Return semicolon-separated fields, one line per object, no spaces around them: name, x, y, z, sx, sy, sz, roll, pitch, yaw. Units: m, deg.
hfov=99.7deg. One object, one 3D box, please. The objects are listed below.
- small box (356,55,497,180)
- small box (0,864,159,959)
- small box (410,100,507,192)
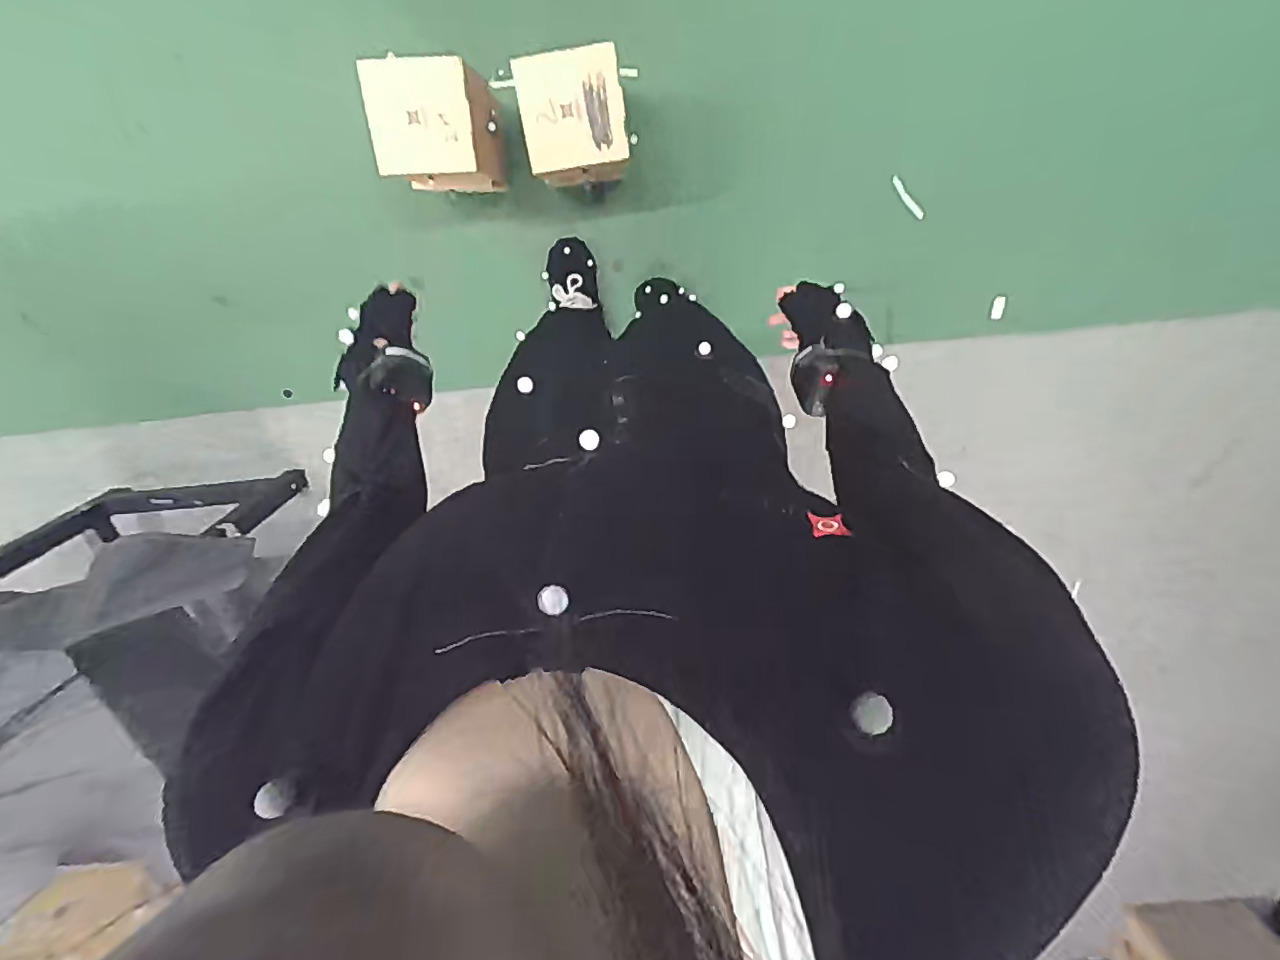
small box;-0.373;-0.644;0.979;0.179;0.176;0.168;-1;115;1
small box;-1.135;0.902;1.077;0.179;0.176;0.168;-5;116;1
small box;-0.383;-0.706;1.133;0.168;0.176;0.179;0;115;0
